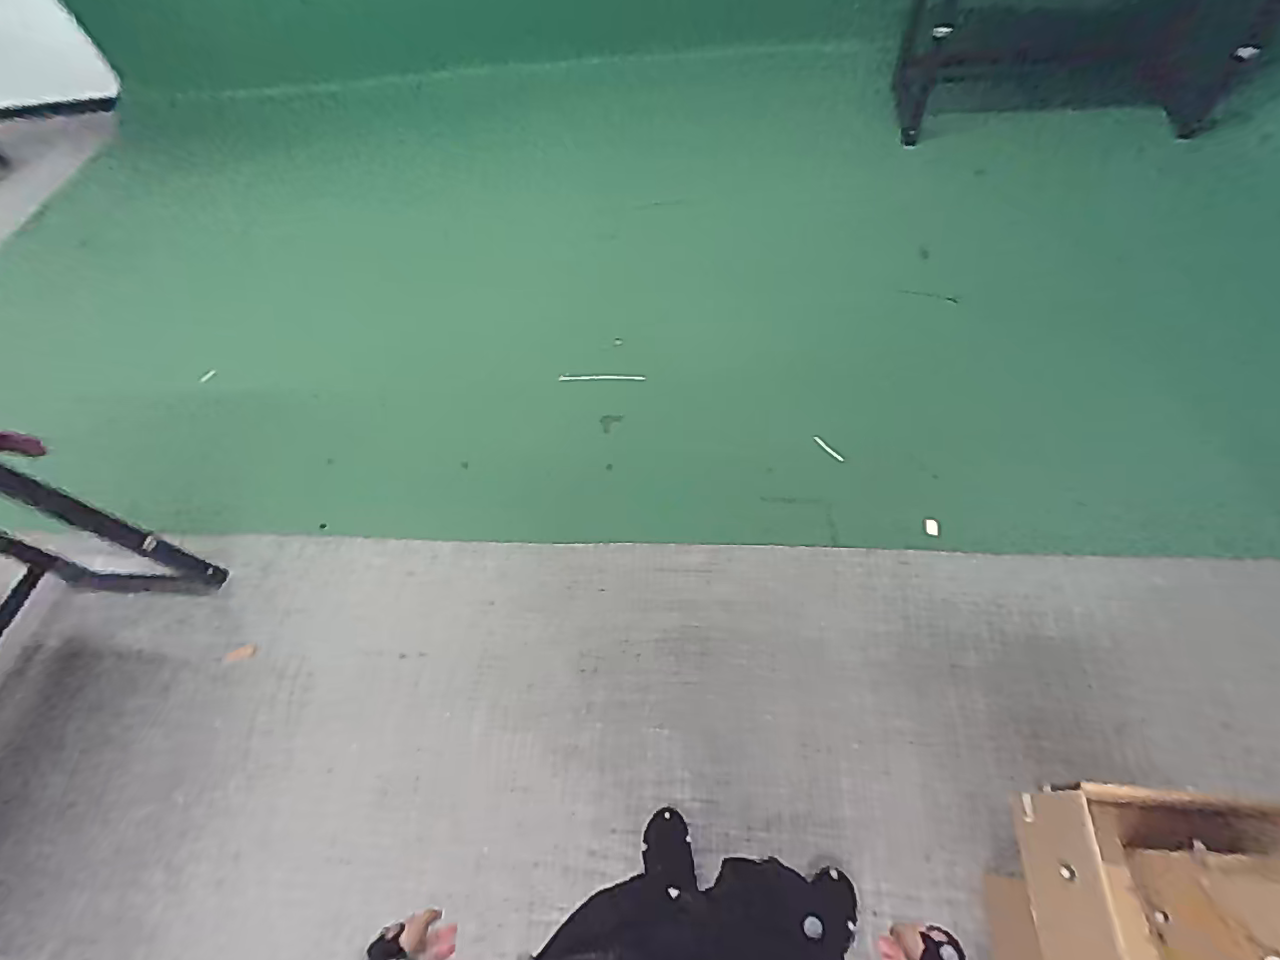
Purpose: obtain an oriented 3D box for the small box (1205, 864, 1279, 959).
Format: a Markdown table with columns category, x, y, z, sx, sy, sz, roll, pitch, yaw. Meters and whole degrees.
| category | x | y | z | sx | sy | sz | roll | pitch | yaw |
| --- | --- | --- | --- | --- | --- | --- | --- | --- | --- |
| small box | 0.774 | 0.499 | 0.555 | 0.179 | 0.176 | 0.168 | -13 | 57 | -1 |
